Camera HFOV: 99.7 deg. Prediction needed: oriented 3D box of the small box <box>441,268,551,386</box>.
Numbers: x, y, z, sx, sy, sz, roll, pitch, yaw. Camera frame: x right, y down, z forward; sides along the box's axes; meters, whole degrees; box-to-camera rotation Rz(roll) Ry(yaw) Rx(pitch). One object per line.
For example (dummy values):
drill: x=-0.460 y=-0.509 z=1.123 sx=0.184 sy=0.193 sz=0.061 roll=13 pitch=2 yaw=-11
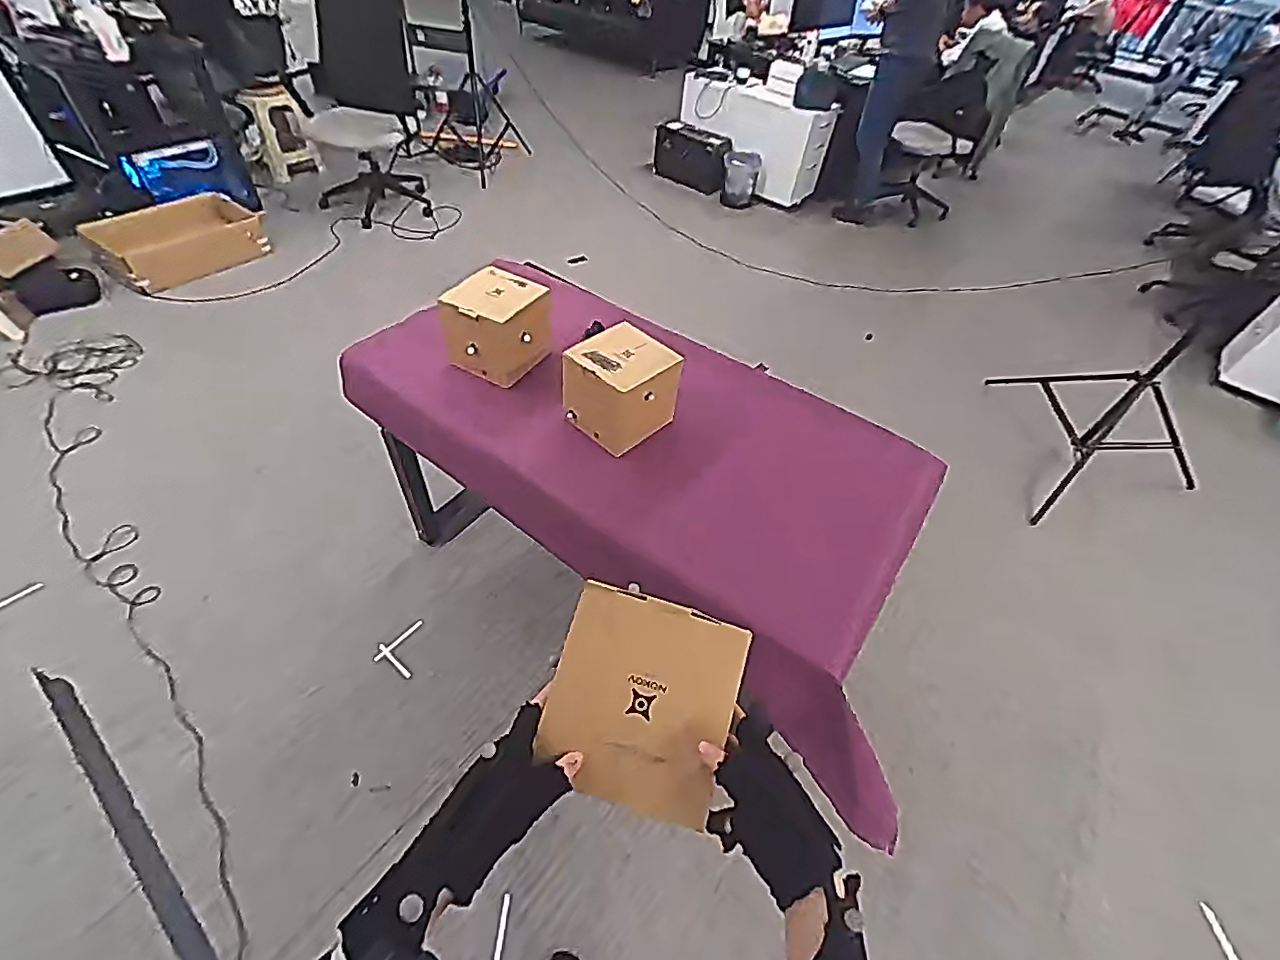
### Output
small box: x=-0.309 y=-0.339 z=1.209 sx=0.168 sy=0.176 sz=0.179 roll=25 pitch=51 yaw=14

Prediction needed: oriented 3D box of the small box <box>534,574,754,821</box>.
small box: x=0.003 y=0.214 z=0.568 sx=0.168 sy=0.176 sz=0.179 roll=17 pitch=74 yaw=3

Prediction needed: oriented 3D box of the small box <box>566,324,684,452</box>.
small box: x=-0.034 y=-0.186 z=1.111 sx=0.168 sy=0.176 sz=0.179 roll=38 pitch=54 yaw=23
